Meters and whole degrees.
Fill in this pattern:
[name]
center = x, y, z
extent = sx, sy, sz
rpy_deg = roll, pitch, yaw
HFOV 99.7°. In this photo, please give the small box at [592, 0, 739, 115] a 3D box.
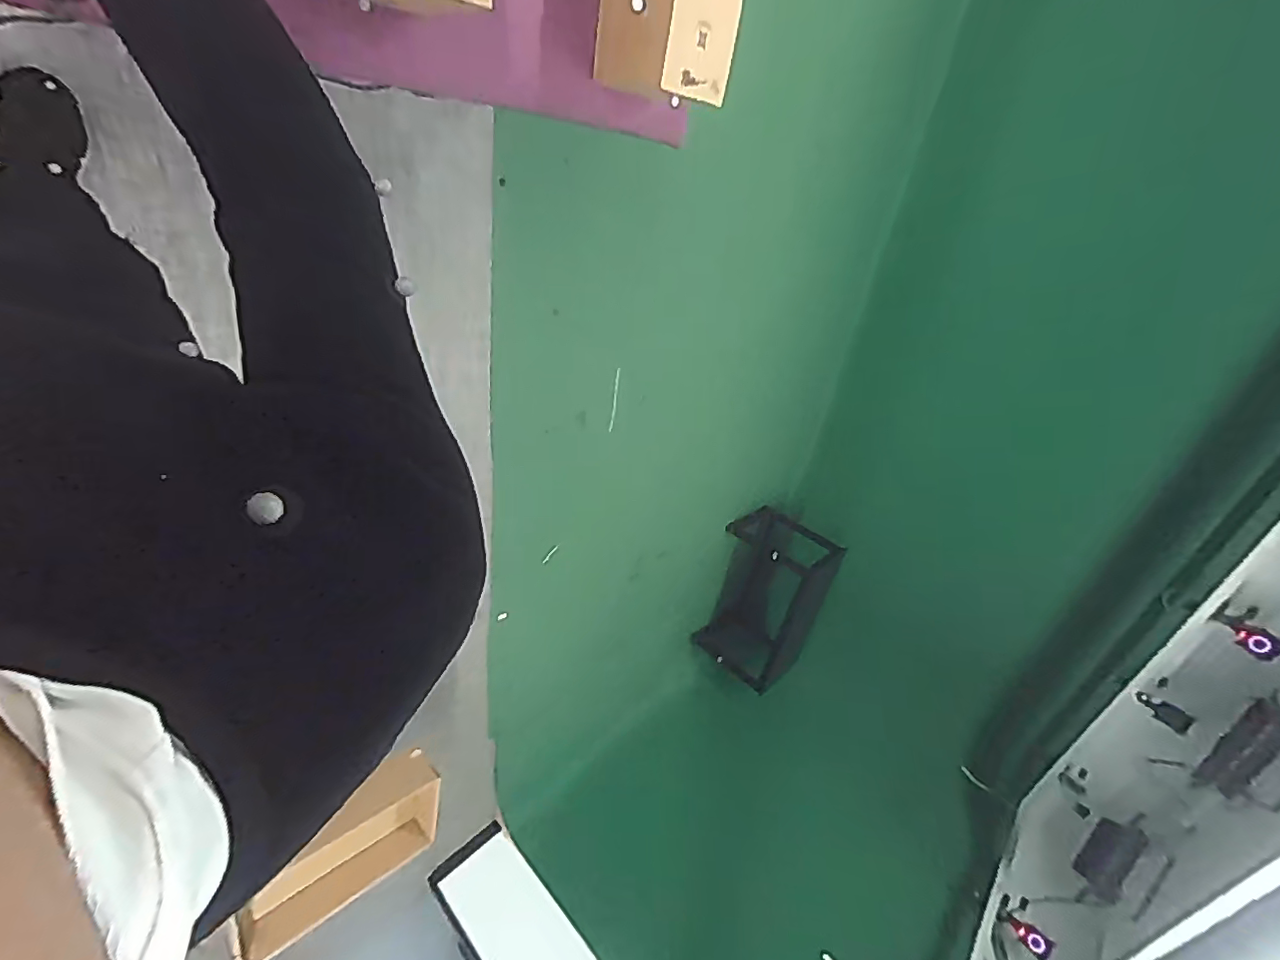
[small box]
center = 0.037, -0.736, 0.907
extent = 0.168, 0.176, 0.179
rpy_deg = -19, 131, -41
